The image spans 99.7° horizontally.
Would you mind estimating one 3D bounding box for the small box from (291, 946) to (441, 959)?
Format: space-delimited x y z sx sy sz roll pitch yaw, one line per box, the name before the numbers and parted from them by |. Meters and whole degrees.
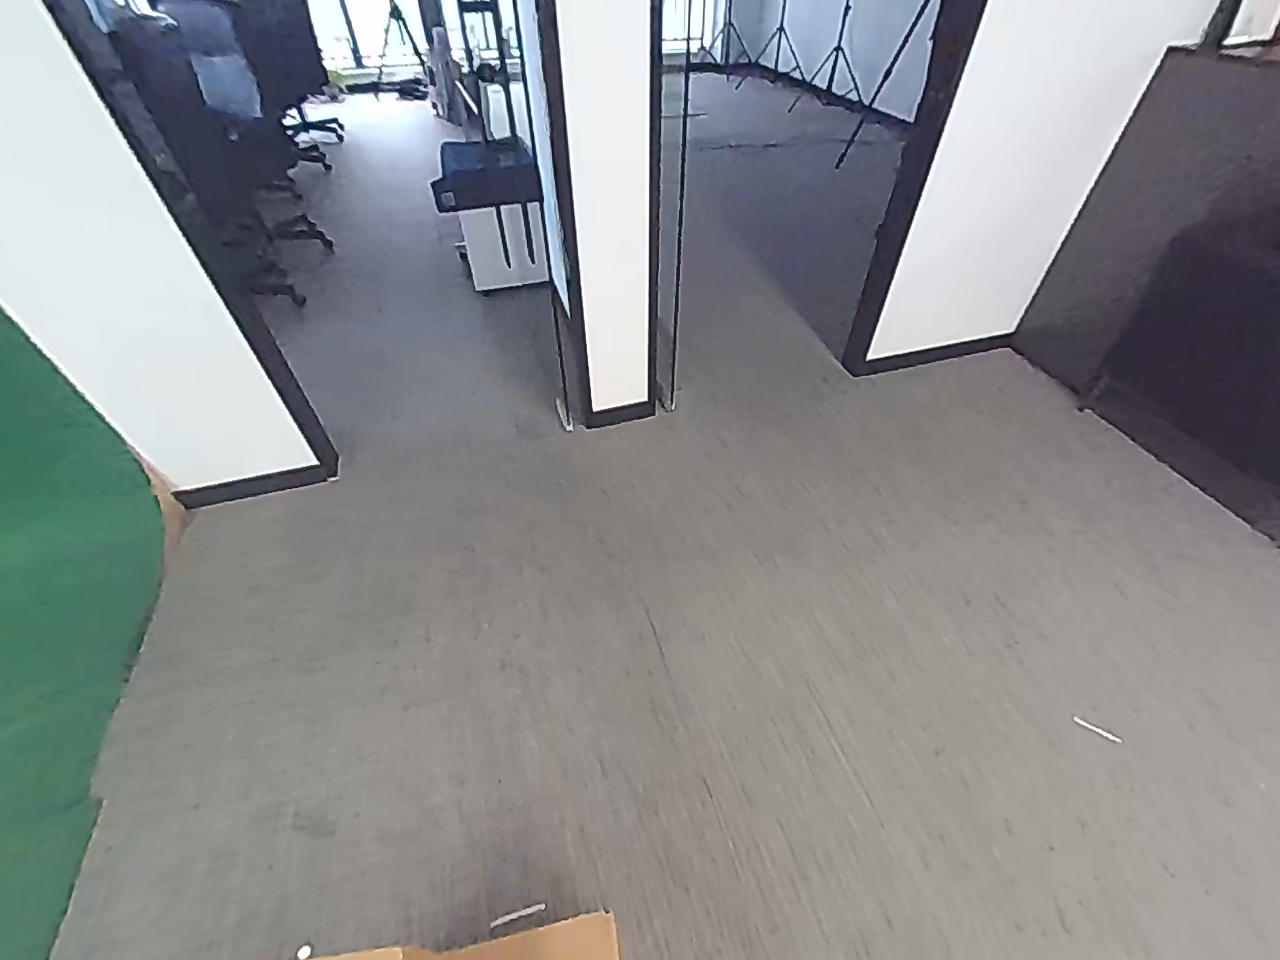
small box | -0.322 0.623 0.576 0.179 0.176 0.168 -4 45 -4
